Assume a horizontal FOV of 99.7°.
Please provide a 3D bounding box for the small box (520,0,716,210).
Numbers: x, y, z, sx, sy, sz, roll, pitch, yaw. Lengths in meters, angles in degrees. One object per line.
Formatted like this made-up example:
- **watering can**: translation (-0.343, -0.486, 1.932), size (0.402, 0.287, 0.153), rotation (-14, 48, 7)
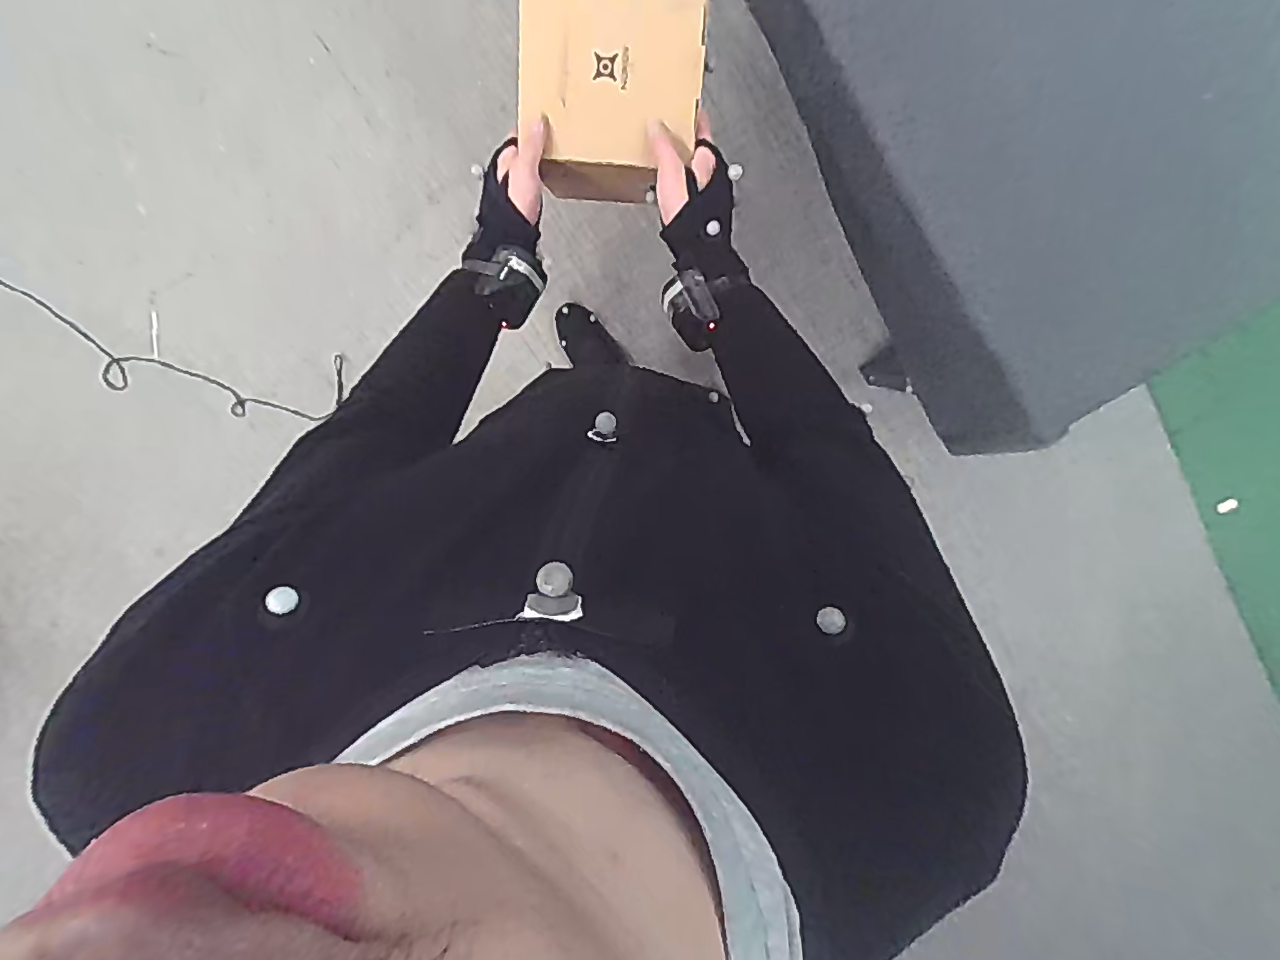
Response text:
- **small box**: translation (-0.020, -0.394, 0.568), size (0.179, 0.176, 0.168), rotation (3, 103, 2)

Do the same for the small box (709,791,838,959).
- **small box**: translation (0.243, 0.746, 1.035), size (0.179, 0.176, 0.168), rotation (-29, 102, 8)
